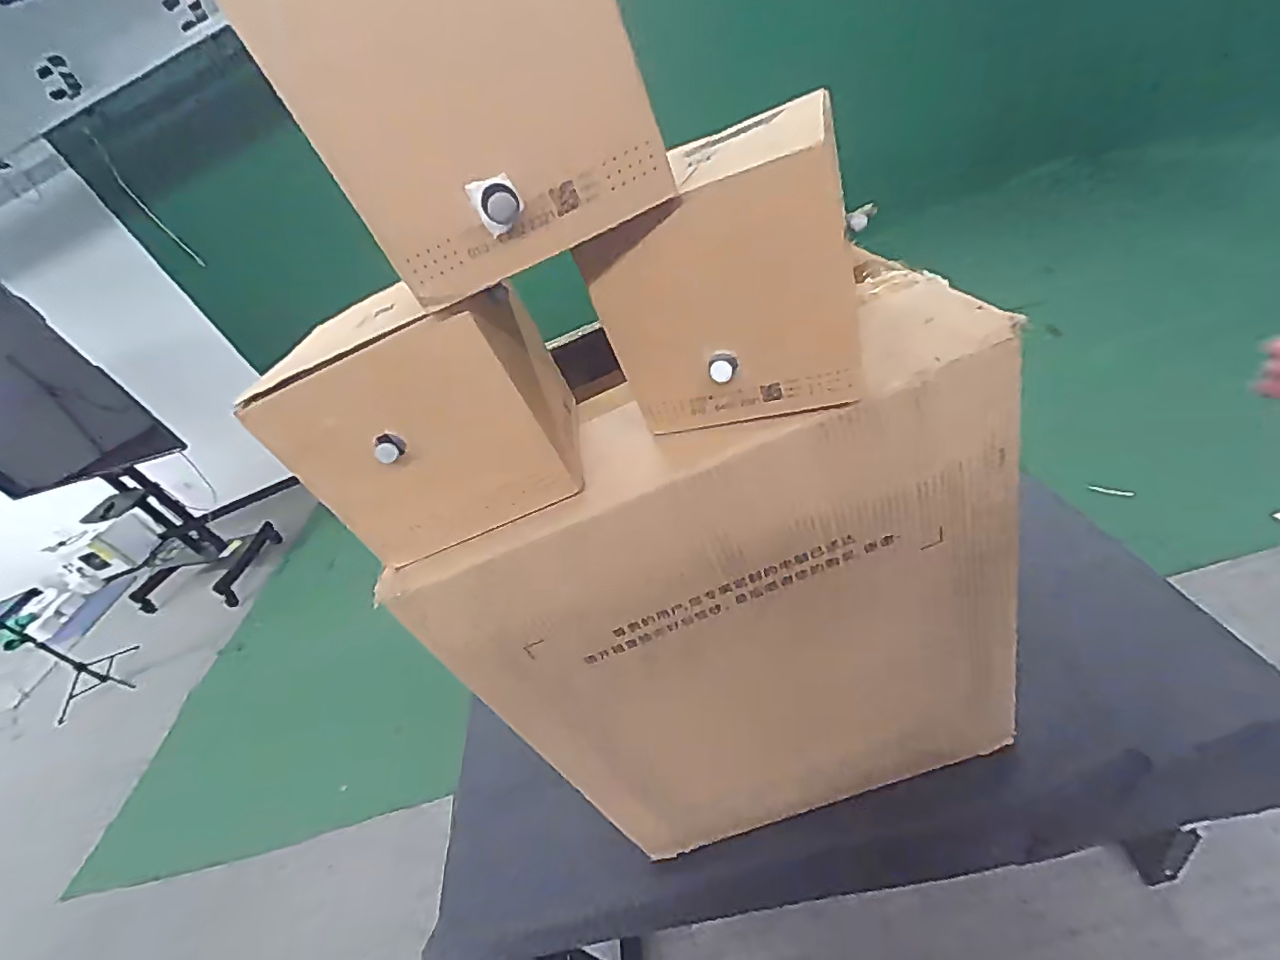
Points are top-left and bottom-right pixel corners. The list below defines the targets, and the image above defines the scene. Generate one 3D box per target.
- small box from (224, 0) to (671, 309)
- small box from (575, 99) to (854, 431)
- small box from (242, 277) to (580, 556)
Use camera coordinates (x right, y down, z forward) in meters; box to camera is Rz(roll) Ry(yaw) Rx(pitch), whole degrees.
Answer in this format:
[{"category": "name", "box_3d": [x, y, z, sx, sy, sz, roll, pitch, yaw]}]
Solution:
[{"category": "small box", "box_3d": [-0.097, -0.233, 0.345, 0.168, 0.176, 0.179, -25, 36, 5]}, {"category": "small box", "box_3d": [0.071, -0.163, 0.429, 0.168, 0.176, 0.179, -7, 40, 25]}, {"category": "small box", "box_3d": [-0.167, -0.064, 0.459, 0.179, 0.176, 0.168, -23, 36, 7]}]
